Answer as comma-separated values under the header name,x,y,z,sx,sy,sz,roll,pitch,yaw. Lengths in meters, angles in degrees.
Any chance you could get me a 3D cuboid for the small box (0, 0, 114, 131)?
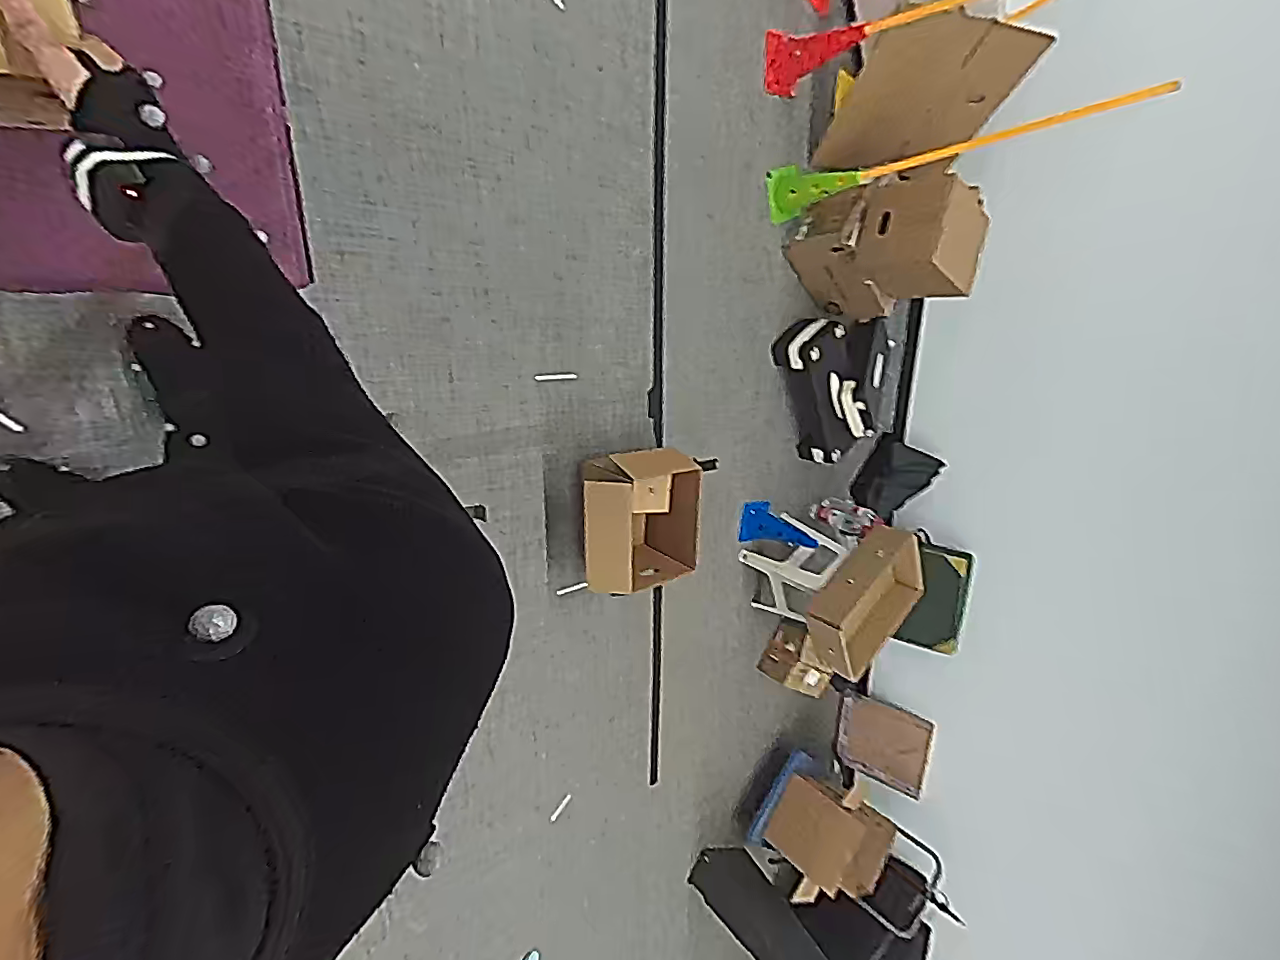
name,x,y,z,sx,sy,sz,roll,pitch,yaw
small box,-0.574,-0.405,0.441,0.168,0.176,0.179,-20,115,-34
